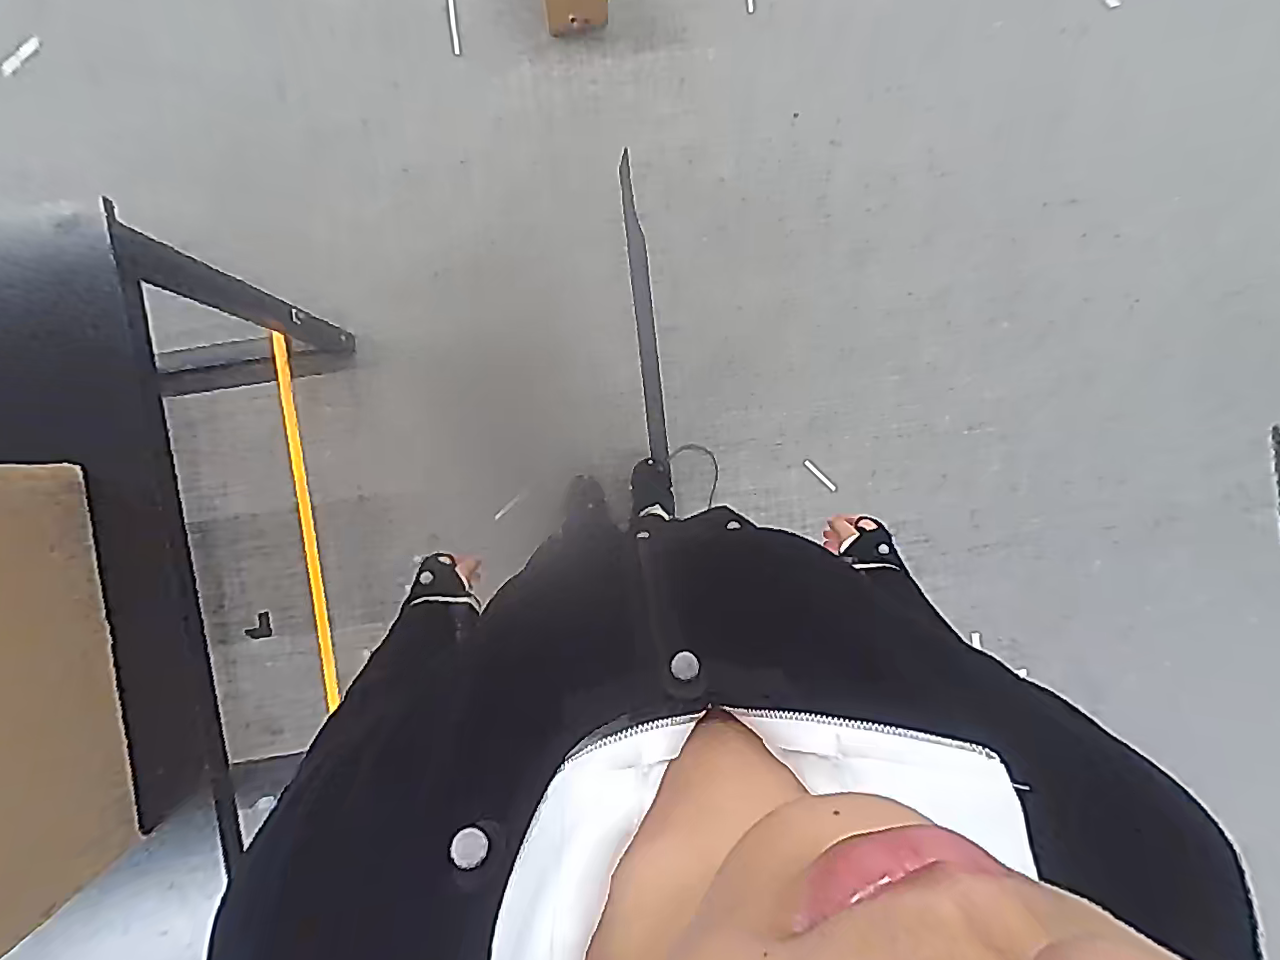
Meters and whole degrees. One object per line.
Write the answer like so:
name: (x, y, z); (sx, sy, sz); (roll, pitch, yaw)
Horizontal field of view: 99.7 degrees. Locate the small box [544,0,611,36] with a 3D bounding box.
small box: (-0.171, -1.279, 1.360); (0.168, 0.176, 0.179); (-14, 94, -2)
